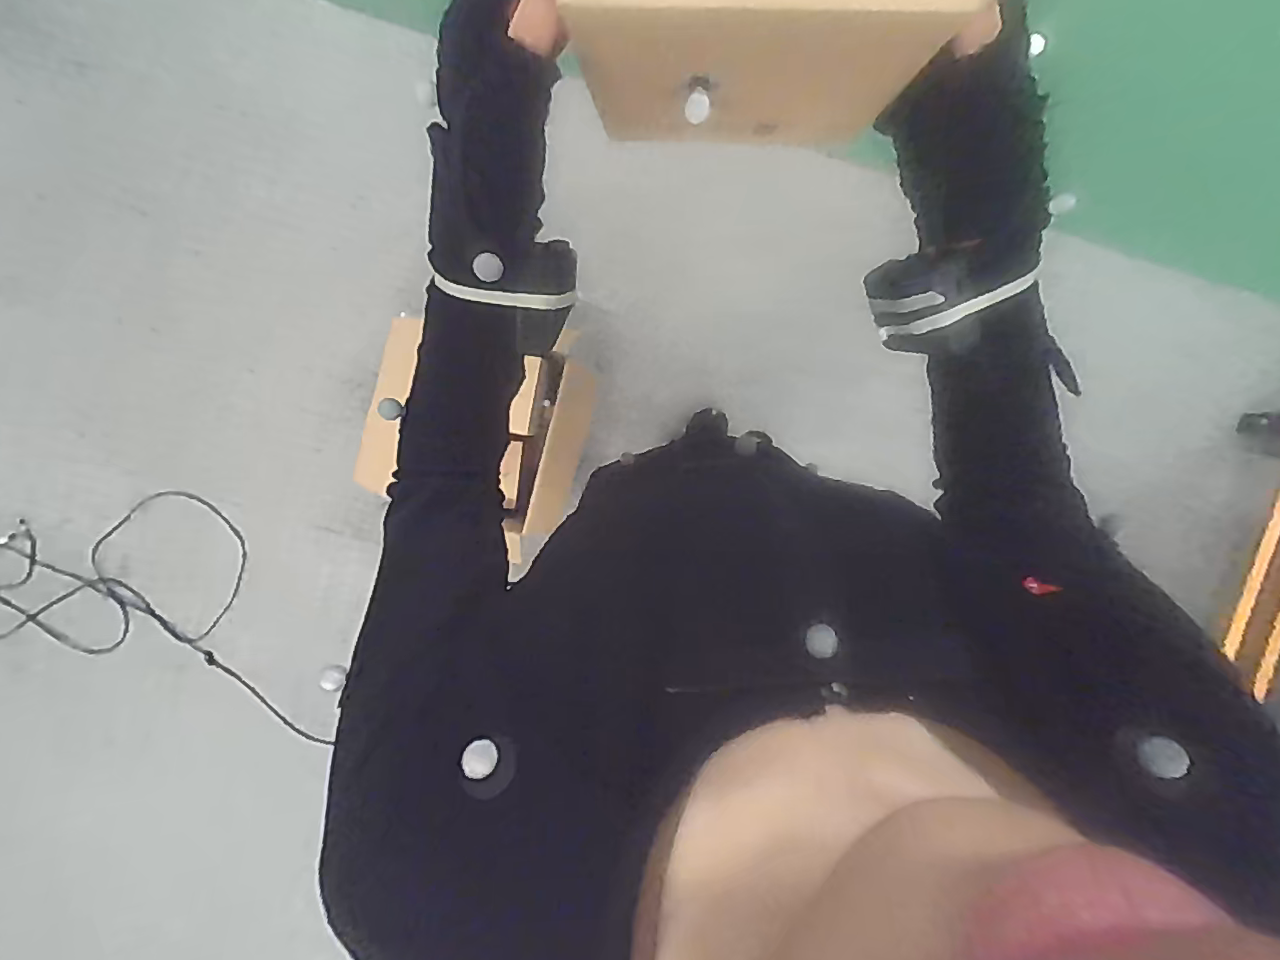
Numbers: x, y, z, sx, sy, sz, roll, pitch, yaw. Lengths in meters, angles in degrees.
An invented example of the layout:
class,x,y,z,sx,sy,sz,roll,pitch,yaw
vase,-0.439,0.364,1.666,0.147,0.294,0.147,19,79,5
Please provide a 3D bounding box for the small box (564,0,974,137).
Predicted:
class,x,y,z,sx,sy,sz,roll,pitch,yaw
small box,0.061,-0.290,0.263,0.168,0.176,0.179,4,105,4
